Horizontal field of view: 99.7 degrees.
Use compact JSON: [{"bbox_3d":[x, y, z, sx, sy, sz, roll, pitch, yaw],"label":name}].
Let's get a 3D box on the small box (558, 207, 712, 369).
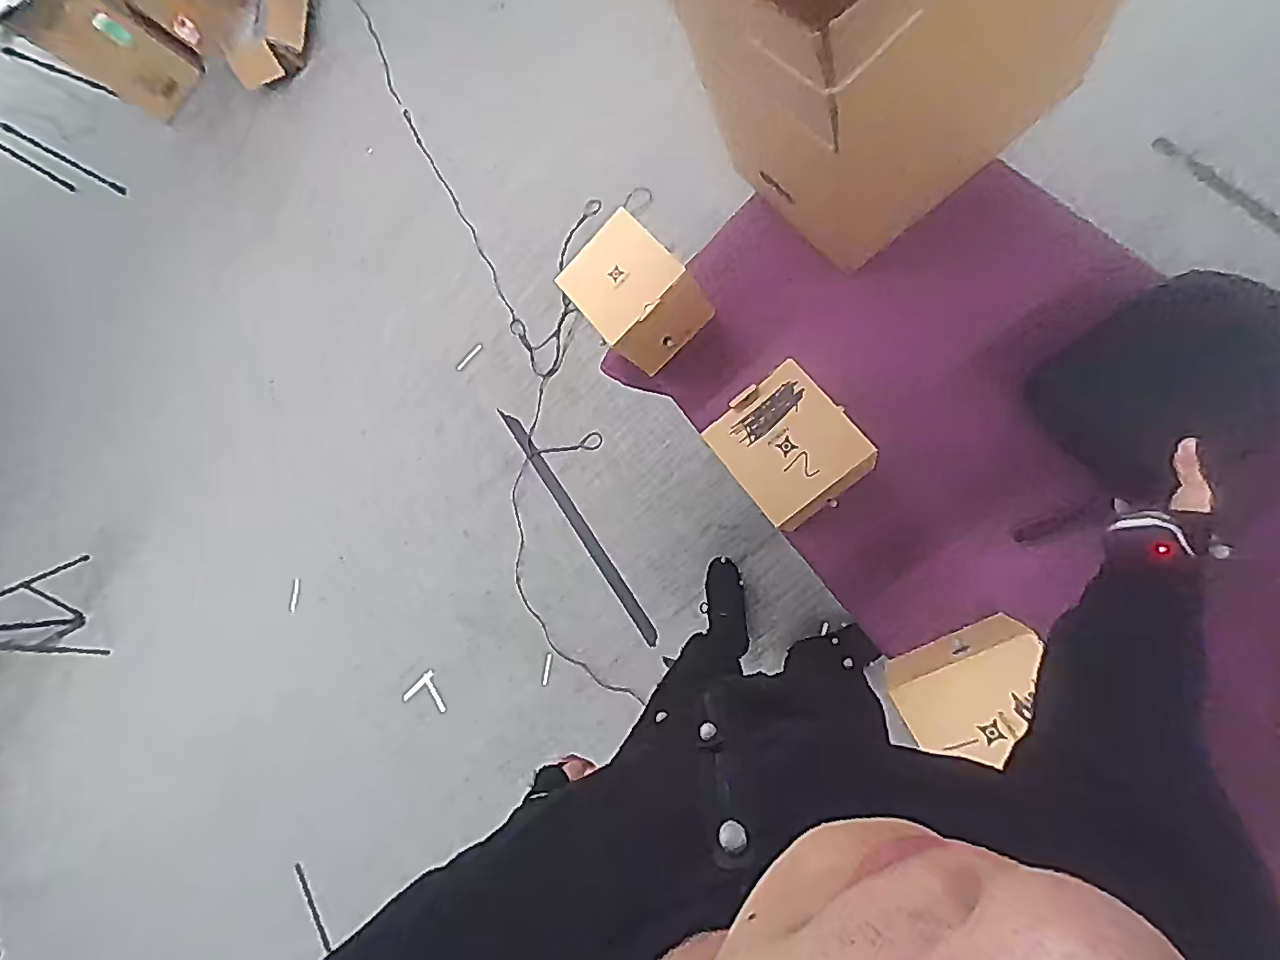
[{"bbox_3d":[-0.003,-0.320,0.941,0.168,0.176,0.179,-43,71,13],"label":"small box"}]
